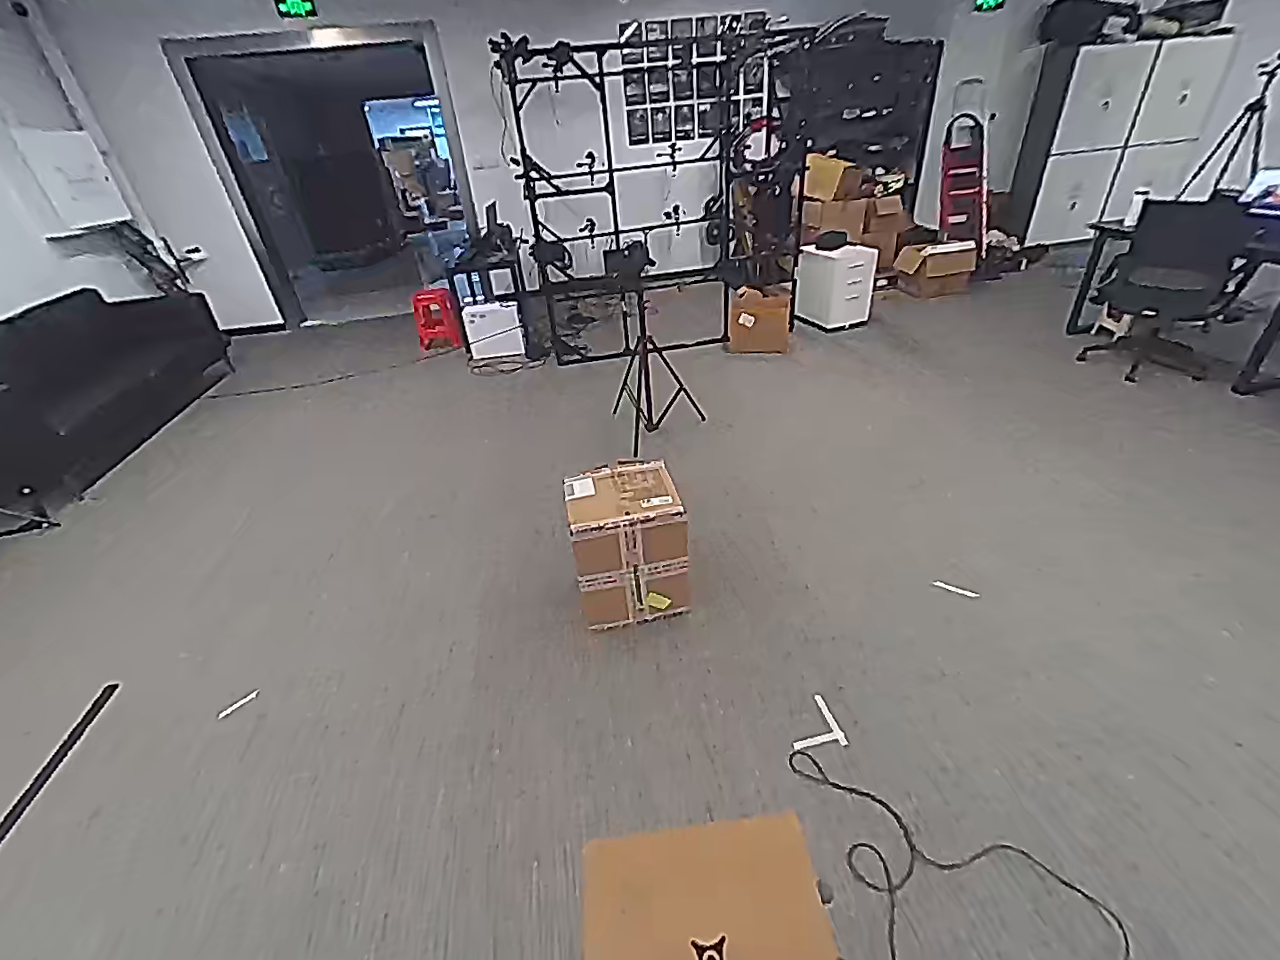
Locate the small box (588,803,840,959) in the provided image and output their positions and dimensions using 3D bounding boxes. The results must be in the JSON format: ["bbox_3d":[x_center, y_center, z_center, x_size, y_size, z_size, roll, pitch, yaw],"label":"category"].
[{"bbox_3d":[0.053,0.373,0.402,0.168,0.176,0.179,-7,42,-1],"label":"small box"}]
